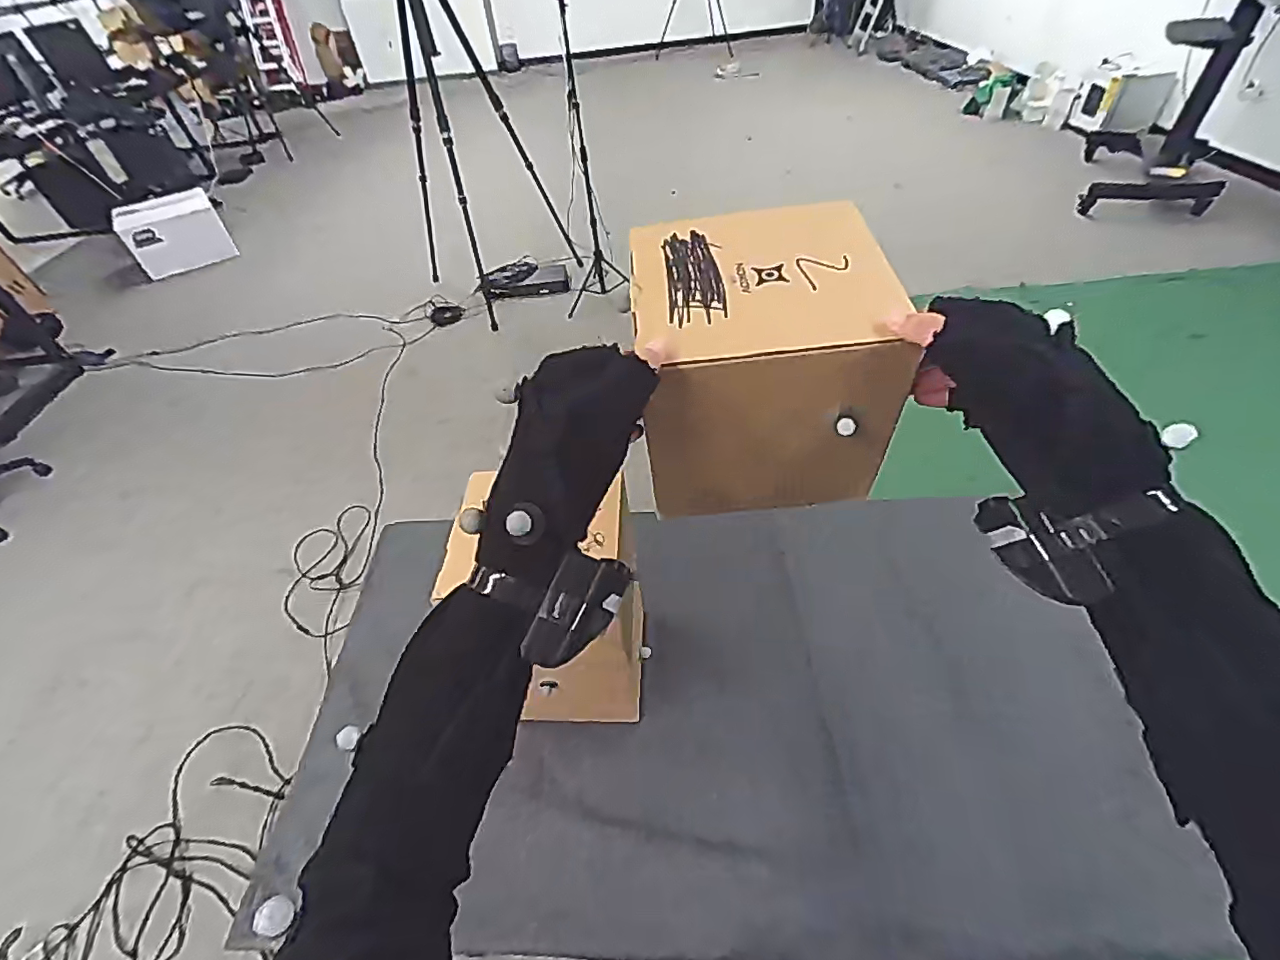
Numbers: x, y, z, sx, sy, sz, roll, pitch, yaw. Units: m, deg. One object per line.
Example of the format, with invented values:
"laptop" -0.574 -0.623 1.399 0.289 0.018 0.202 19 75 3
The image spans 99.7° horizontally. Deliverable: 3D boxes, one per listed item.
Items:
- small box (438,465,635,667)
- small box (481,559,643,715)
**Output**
"small box" -0.098 0.100 0.615 0.179 0.176 0.168 -2 46 4
"small box" -0.092 0.209 0.739 0.179 0.176 0.168 0 47 4
